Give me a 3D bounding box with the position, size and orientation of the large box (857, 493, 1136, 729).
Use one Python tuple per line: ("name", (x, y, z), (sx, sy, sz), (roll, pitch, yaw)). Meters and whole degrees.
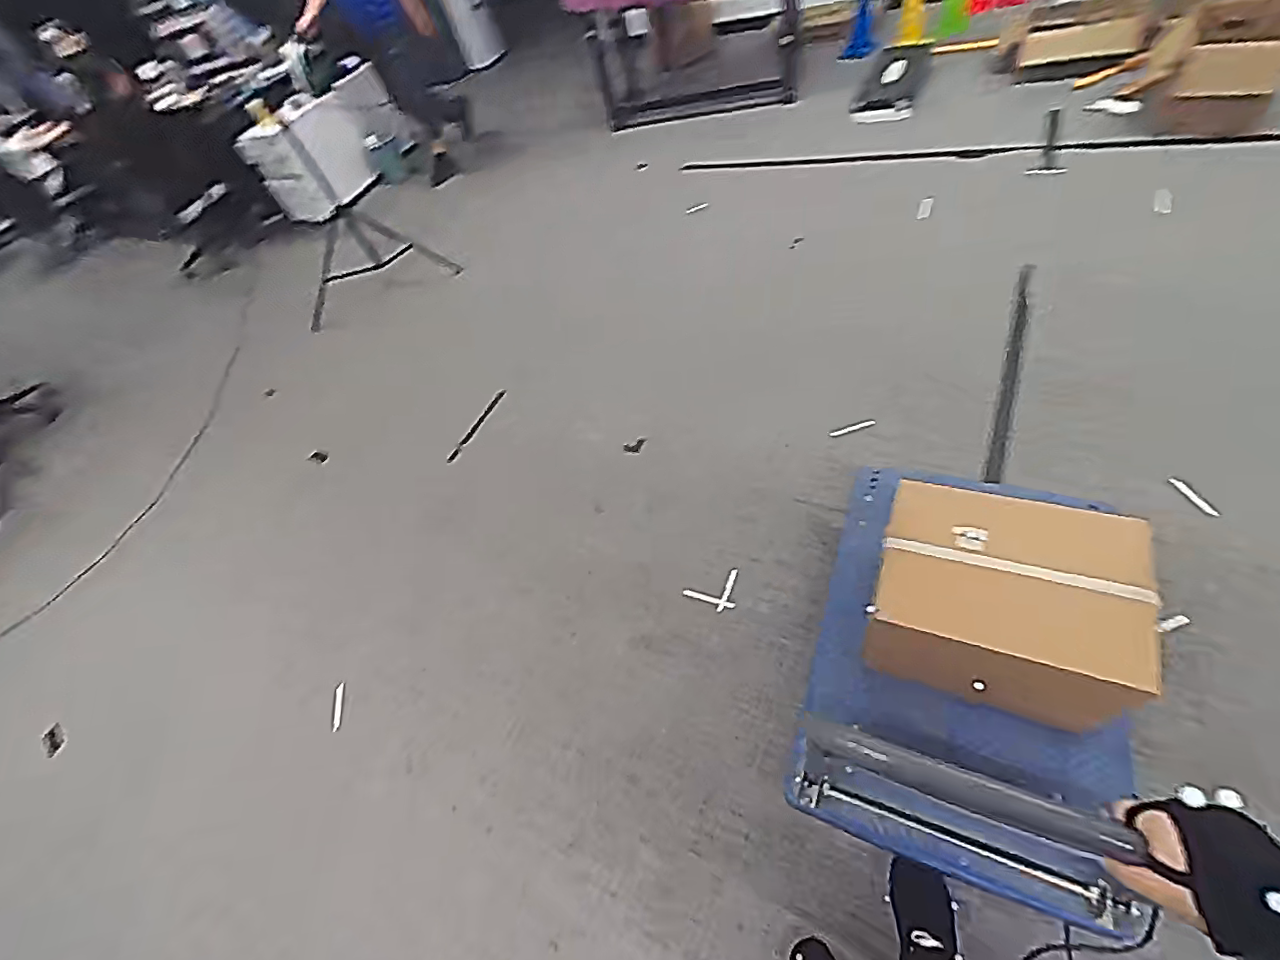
("large box", (0.685, 0.262, 1.103), (0.408, 0.320, 0.320), (10, 58, 25))
